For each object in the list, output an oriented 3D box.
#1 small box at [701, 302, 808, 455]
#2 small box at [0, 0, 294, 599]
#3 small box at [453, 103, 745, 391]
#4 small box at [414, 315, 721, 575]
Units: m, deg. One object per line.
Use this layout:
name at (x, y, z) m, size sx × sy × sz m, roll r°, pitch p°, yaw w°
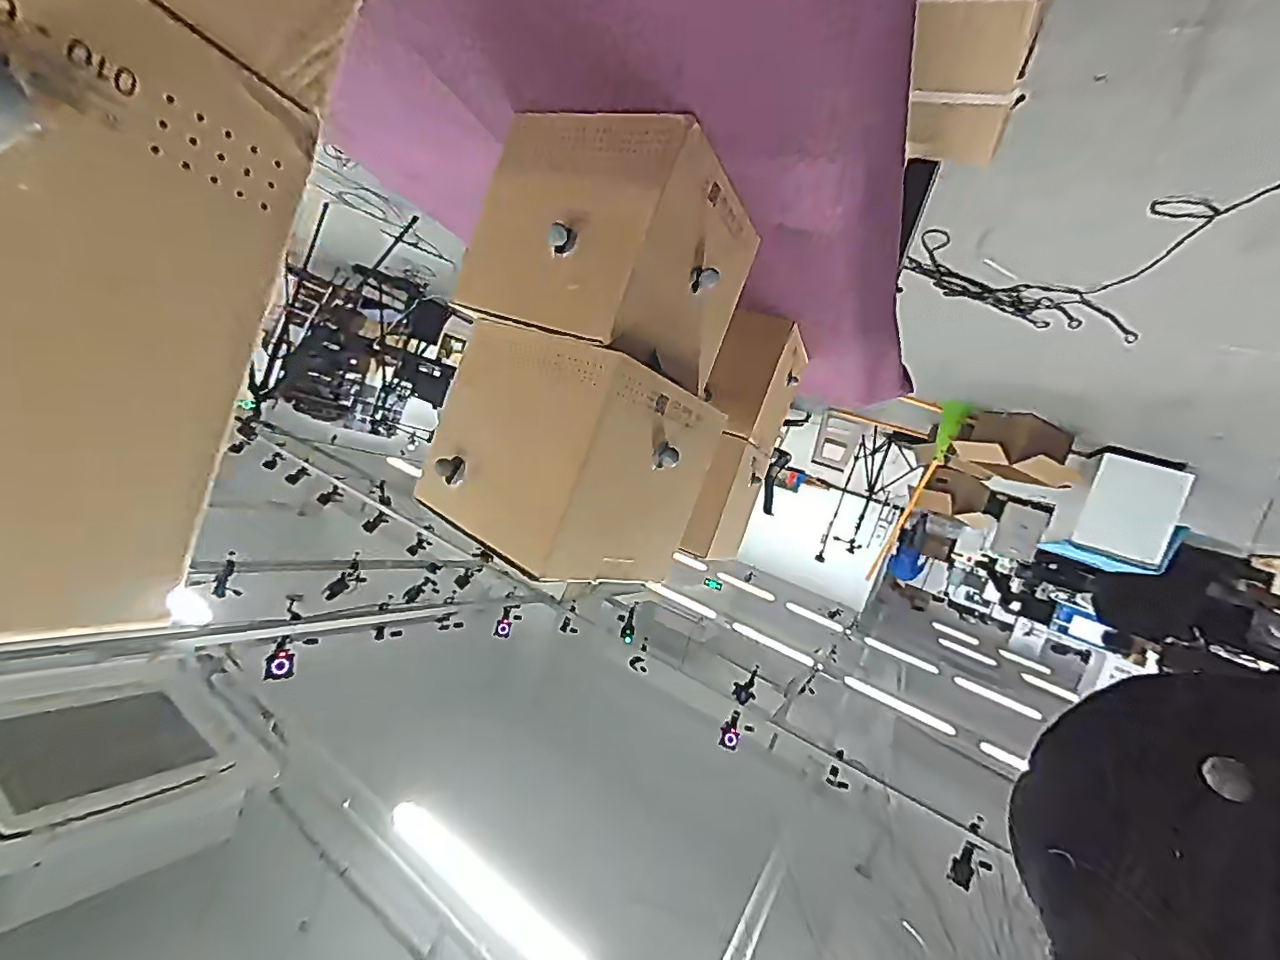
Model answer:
small box at (0.126, -0.153, 0.793) m, size 0.179 × 0.176 × 0.168 m, roll 20°, pitch -178°, yaw 24°
small box at (-0.227, -0.080, 0.135) m, size 0.179 × 0.176 × 0.168 m, roll 22°, pitch -176°, yaw 28°
small box at (-0.023, -0.194, 0.472) m, size 0.179 × 0.176 × 0.168 m, roll 21°, pitch -178°, yaw 30°
small box at (-0.058, -0.030, 0.474) m, size 0.179 × 0.176 × 0.168 m, roll 22°, pitch -176°, yaw 36°
